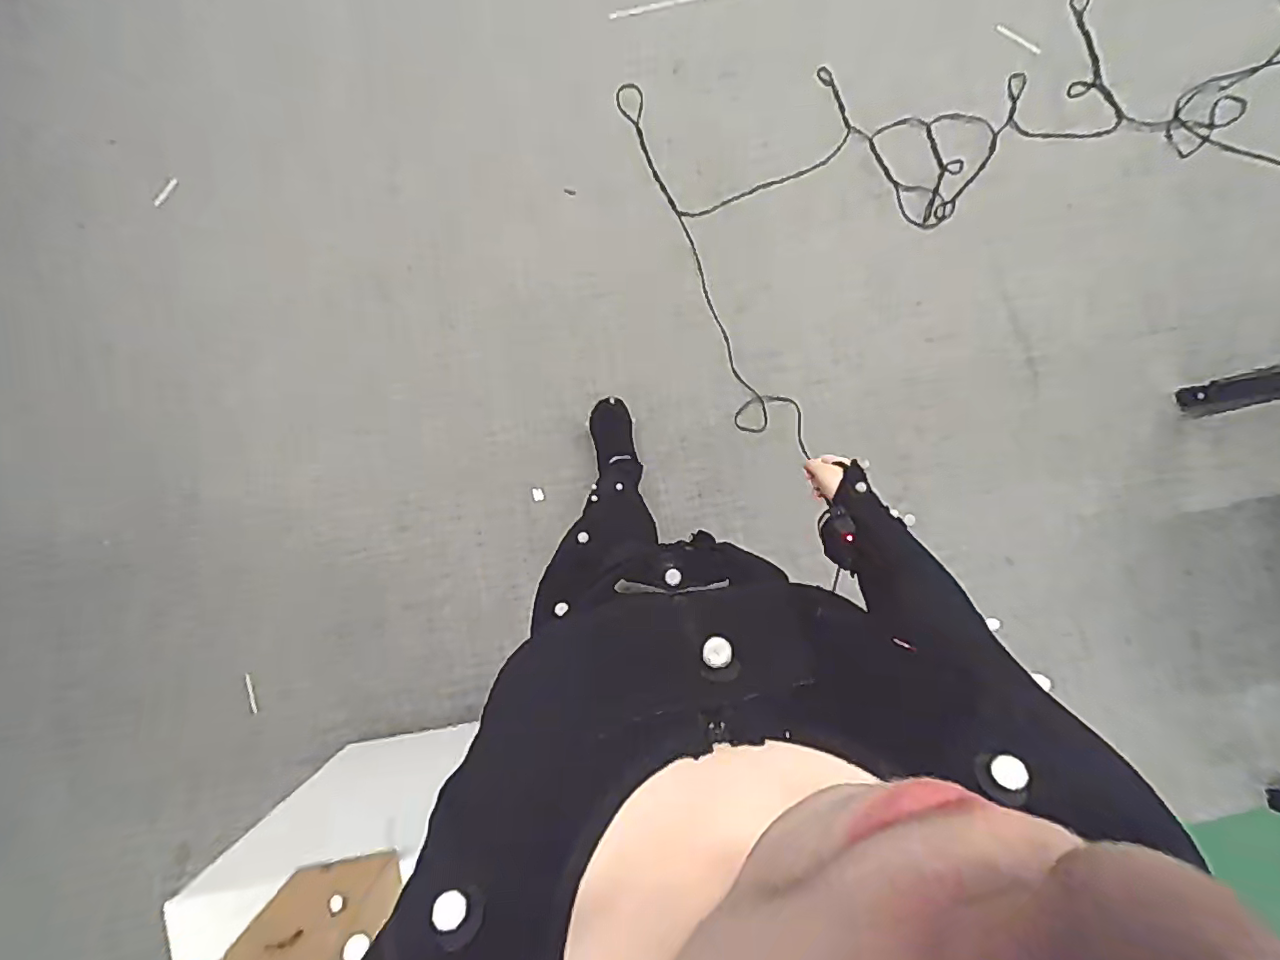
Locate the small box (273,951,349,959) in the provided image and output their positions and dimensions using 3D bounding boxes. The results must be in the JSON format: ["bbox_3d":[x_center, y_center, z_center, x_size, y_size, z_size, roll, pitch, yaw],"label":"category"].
[{"bbox_3d":[-0.453,0.706,0.632,0.179,0.176,0.168,-11,90,0],"label":"small box"}]
